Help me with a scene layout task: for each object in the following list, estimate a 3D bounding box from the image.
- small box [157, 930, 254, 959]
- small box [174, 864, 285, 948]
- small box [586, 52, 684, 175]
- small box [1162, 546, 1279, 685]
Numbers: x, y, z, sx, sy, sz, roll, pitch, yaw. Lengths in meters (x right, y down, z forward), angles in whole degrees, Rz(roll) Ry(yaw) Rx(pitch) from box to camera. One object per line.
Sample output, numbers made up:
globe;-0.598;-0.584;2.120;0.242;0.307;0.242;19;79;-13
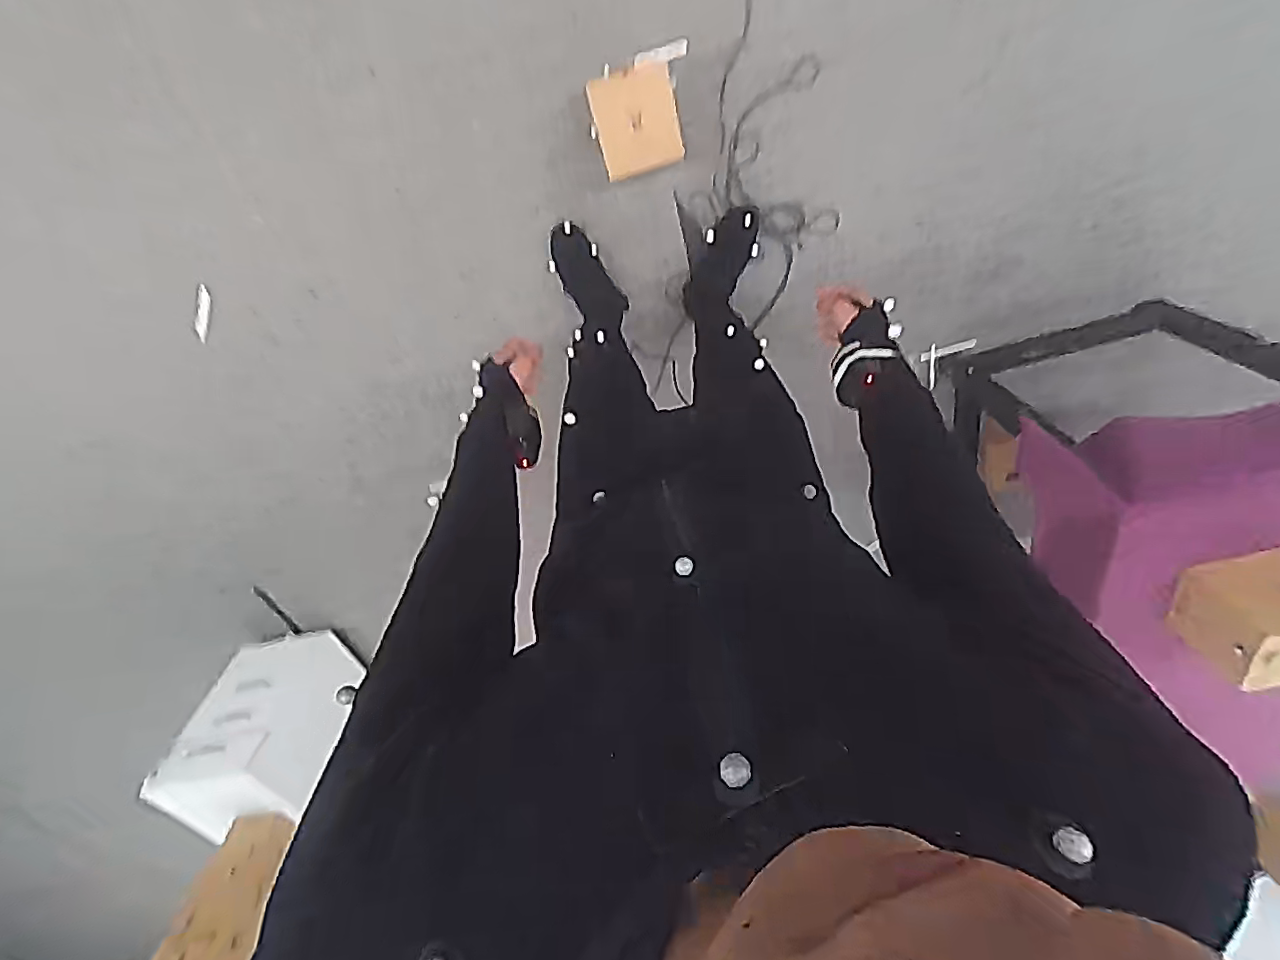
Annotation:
small box;-1.246;1.395;1.519;0.168;0.176;0.179;-11;125;8
small box;-1.247;1.307;1.657;0.179;0.176;0.168;-10;126;7
small box;-0.009;-0.771;1.146;0.168;0.176;0.179;-12;125;9
small box;1.143;0.246;1.000;0.179;0.176;0.168;-16;124;9
